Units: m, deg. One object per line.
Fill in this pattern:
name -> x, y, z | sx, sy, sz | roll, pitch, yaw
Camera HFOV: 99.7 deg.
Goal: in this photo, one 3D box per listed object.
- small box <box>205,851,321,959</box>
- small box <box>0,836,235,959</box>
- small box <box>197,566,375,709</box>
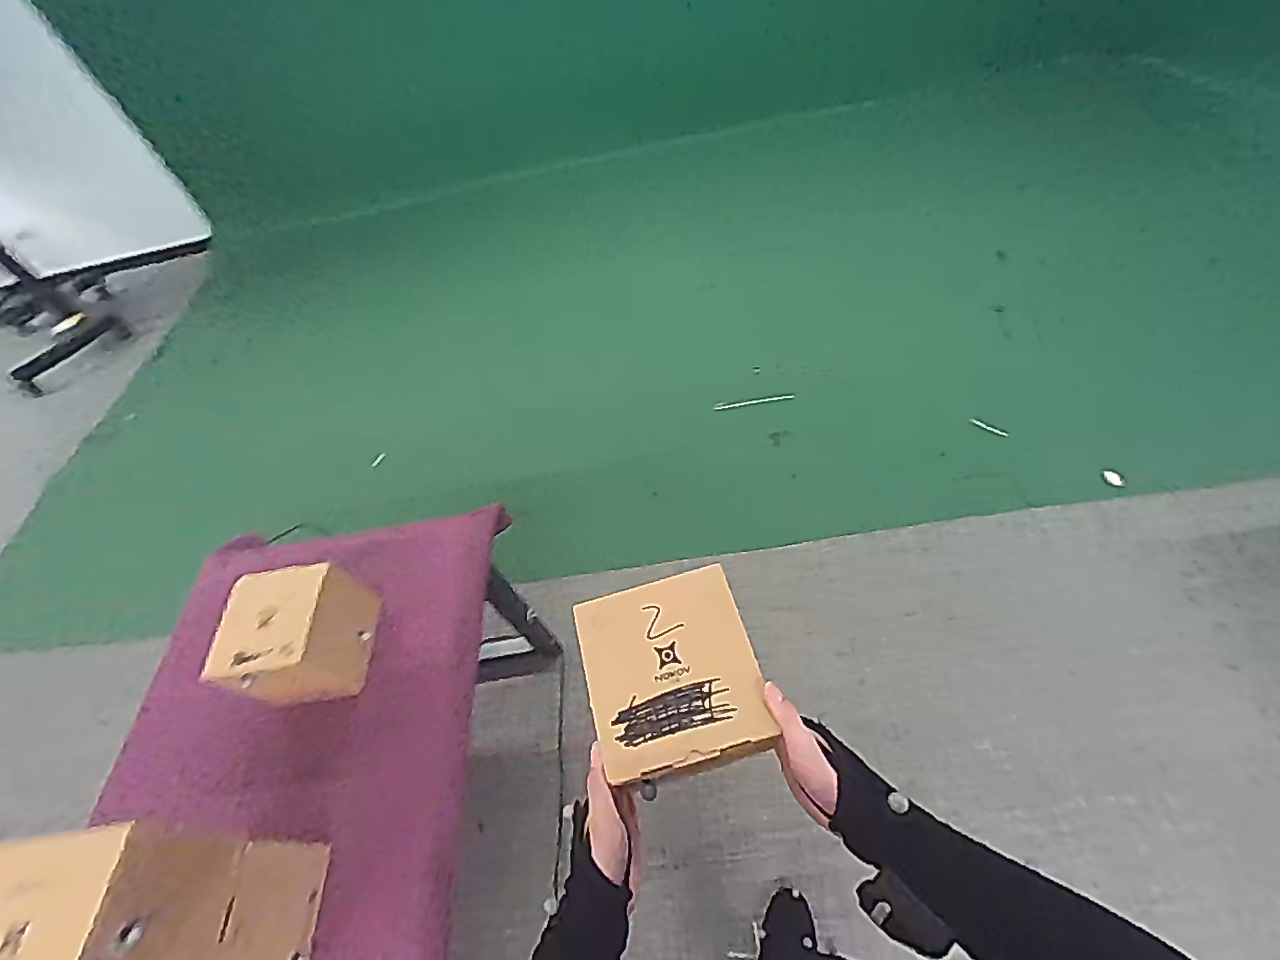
small box -> -0.549, 0.581, 0.687 | 0.179, 0.176, 0.168 | -11, 52, 5
small box -> -0.573, 0.485, 0.558 | 0.168, 0.176, 0.179 | -10, 52, 3
small box -> -0.585, 0.273, 0.924 | 0.168, 0.176, 0.179 | -10, 53, 5
